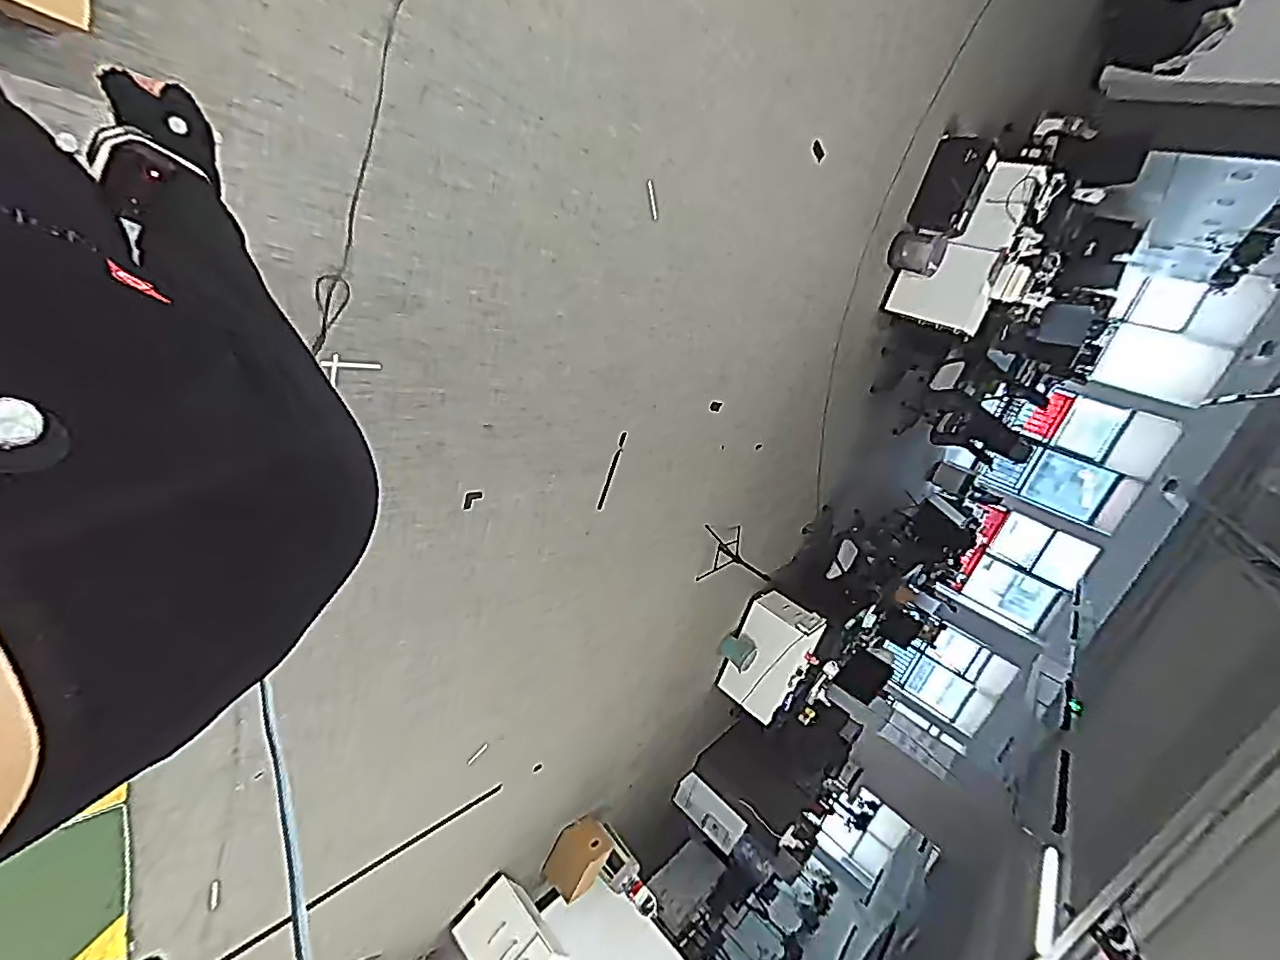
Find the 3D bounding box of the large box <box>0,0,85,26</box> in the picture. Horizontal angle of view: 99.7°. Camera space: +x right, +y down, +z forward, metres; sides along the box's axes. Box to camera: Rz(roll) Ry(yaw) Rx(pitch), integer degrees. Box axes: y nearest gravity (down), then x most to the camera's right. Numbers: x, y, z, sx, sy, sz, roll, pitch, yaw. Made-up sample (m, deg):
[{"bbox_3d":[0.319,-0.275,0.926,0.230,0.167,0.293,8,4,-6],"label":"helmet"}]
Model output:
[{"bbox_3d":[-0.942,-0.801,0.607,0.408,0.320,0.320,-7,121,-52],"label":"large box"}]
